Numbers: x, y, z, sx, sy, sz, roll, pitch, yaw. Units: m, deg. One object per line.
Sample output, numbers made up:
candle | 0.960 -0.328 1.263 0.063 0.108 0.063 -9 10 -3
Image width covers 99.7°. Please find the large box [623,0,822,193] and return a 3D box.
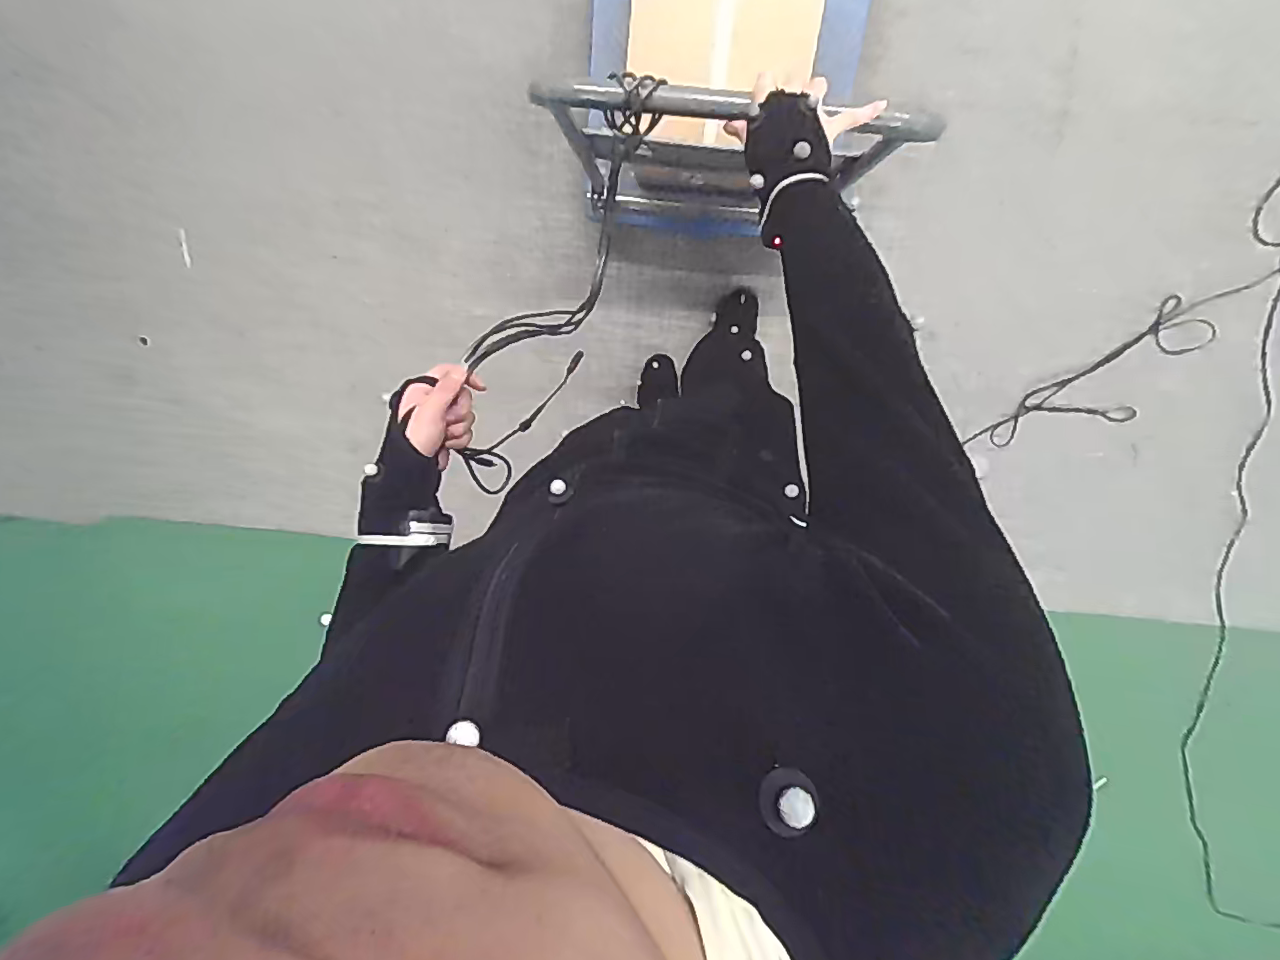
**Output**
large box | 0.154 -0.813 1.040 0.320 0.320 0.408 8 108 1
